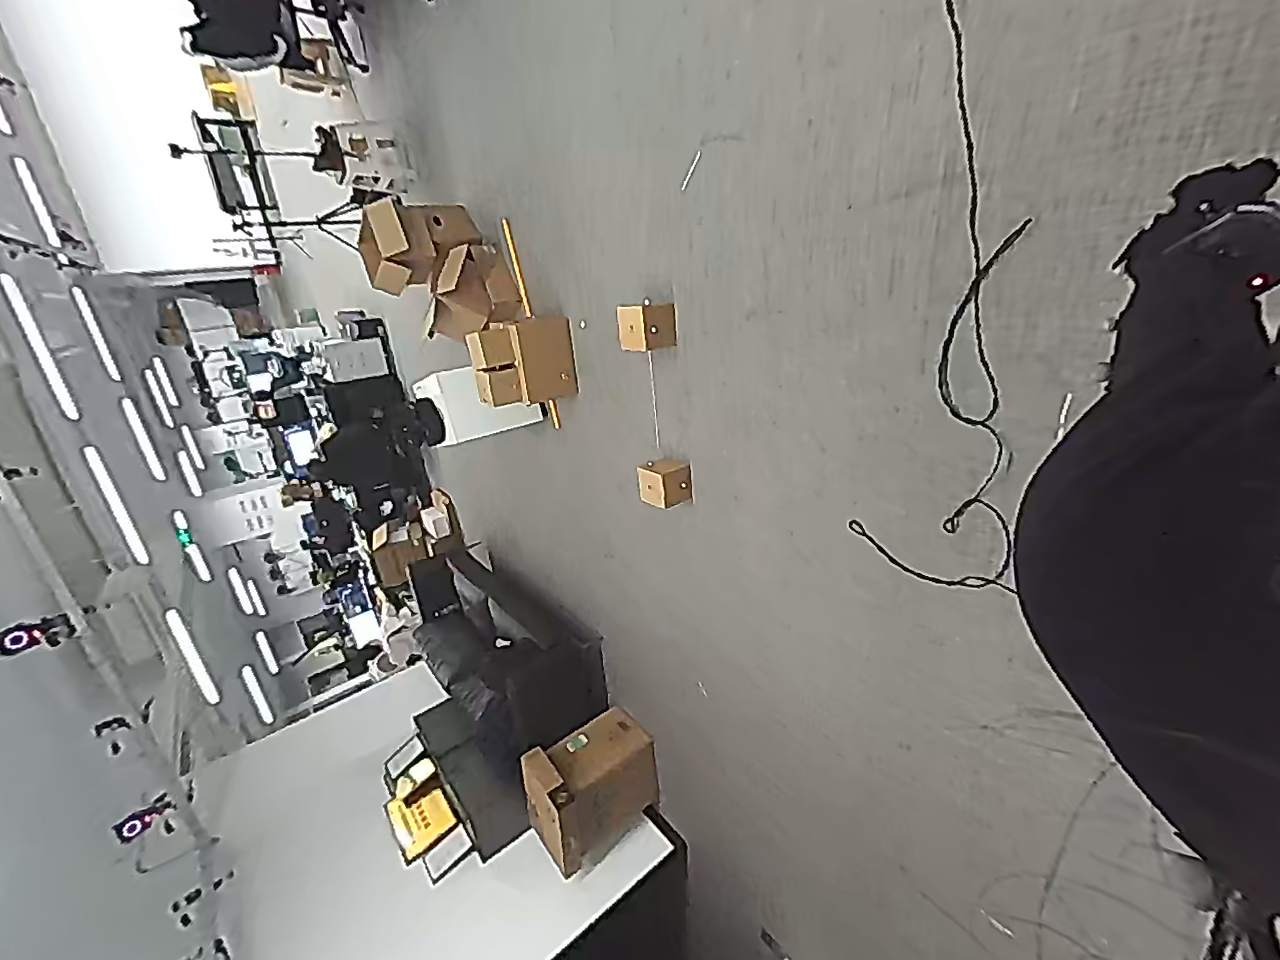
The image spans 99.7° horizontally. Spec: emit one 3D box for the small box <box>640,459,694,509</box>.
[{"bbox_3d":[0.122,0.011,2.440,0.179,0.176,0.168,19,124,49],"label":"small box"}]

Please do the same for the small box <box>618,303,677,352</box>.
[{"bbox_3d":[0.034,-0.627,2.205,0.168,0.176,0.179,19,124,49],"label":"small box"}]
